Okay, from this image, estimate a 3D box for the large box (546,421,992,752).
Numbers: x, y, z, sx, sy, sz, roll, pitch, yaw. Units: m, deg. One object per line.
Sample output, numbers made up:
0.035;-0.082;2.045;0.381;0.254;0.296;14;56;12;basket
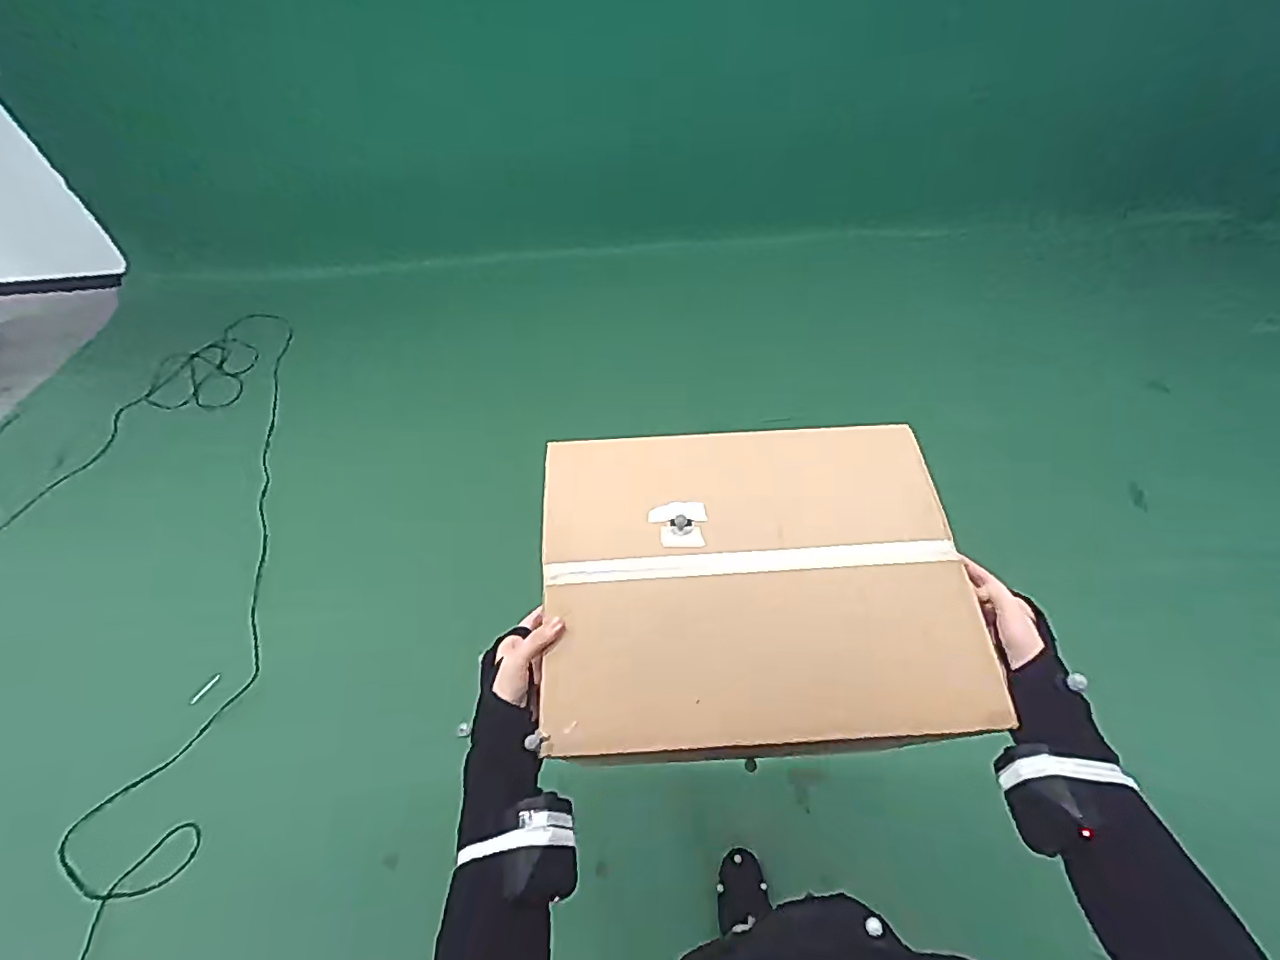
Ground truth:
0.111;0.152;0.675;0.408;0.320;0.320;-4;61;0;large box
